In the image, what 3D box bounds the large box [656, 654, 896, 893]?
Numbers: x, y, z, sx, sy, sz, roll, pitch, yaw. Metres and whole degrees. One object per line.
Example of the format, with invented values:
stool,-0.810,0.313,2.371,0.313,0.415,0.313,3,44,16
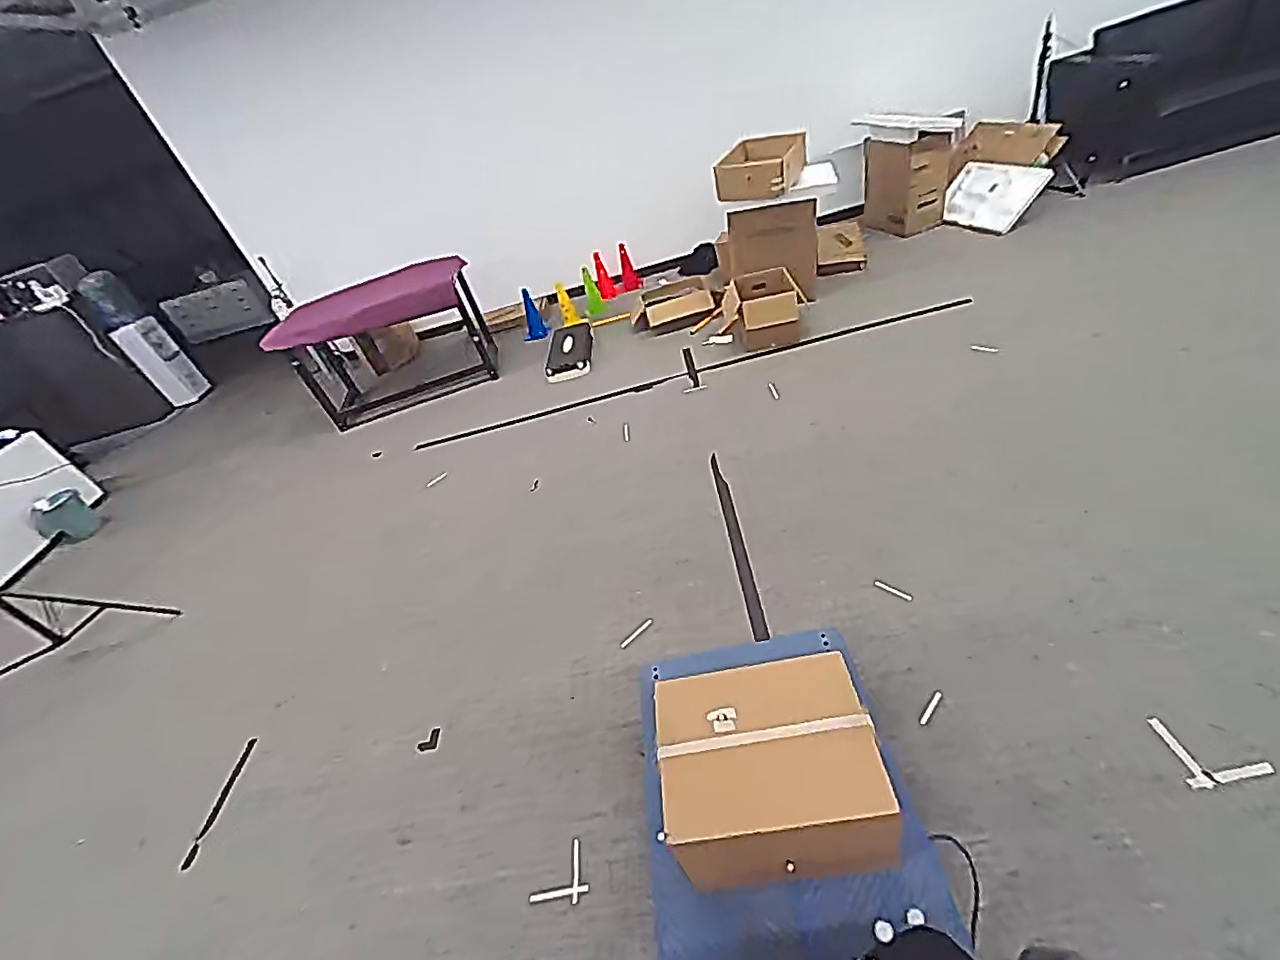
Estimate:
large box,0.274,0.621,1.142,0.408,0.320,0.320,-14,37,7
